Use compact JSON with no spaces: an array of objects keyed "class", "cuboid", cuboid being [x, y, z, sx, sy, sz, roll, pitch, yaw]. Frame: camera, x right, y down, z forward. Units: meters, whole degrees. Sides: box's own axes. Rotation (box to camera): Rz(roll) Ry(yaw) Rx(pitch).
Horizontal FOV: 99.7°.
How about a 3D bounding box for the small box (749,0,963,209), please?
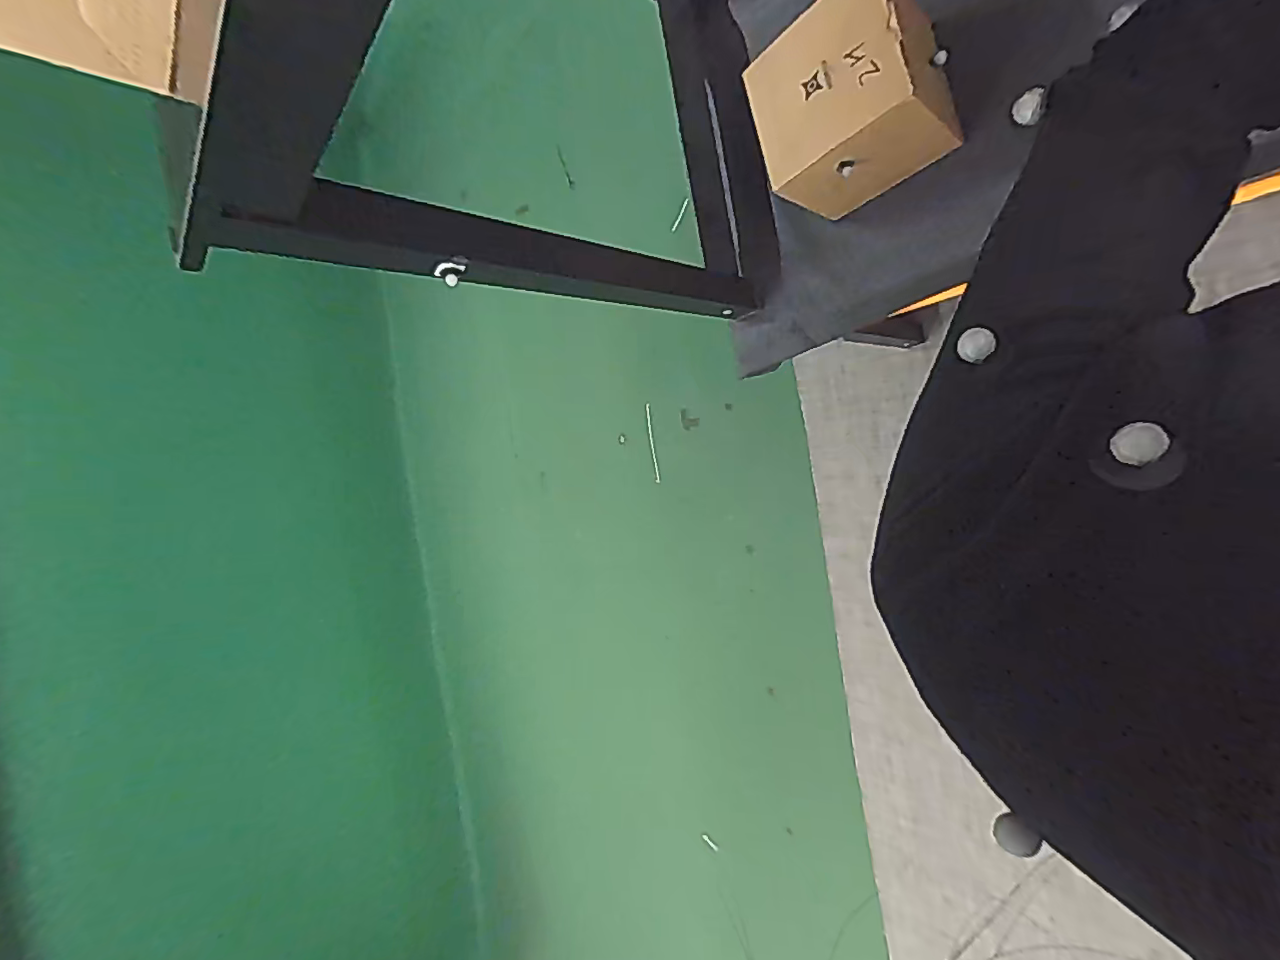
[{"class":"small box","cuboid":[0.270,-0.473,0.679,0.179,0.176,0.168,-17,85,46]}]
